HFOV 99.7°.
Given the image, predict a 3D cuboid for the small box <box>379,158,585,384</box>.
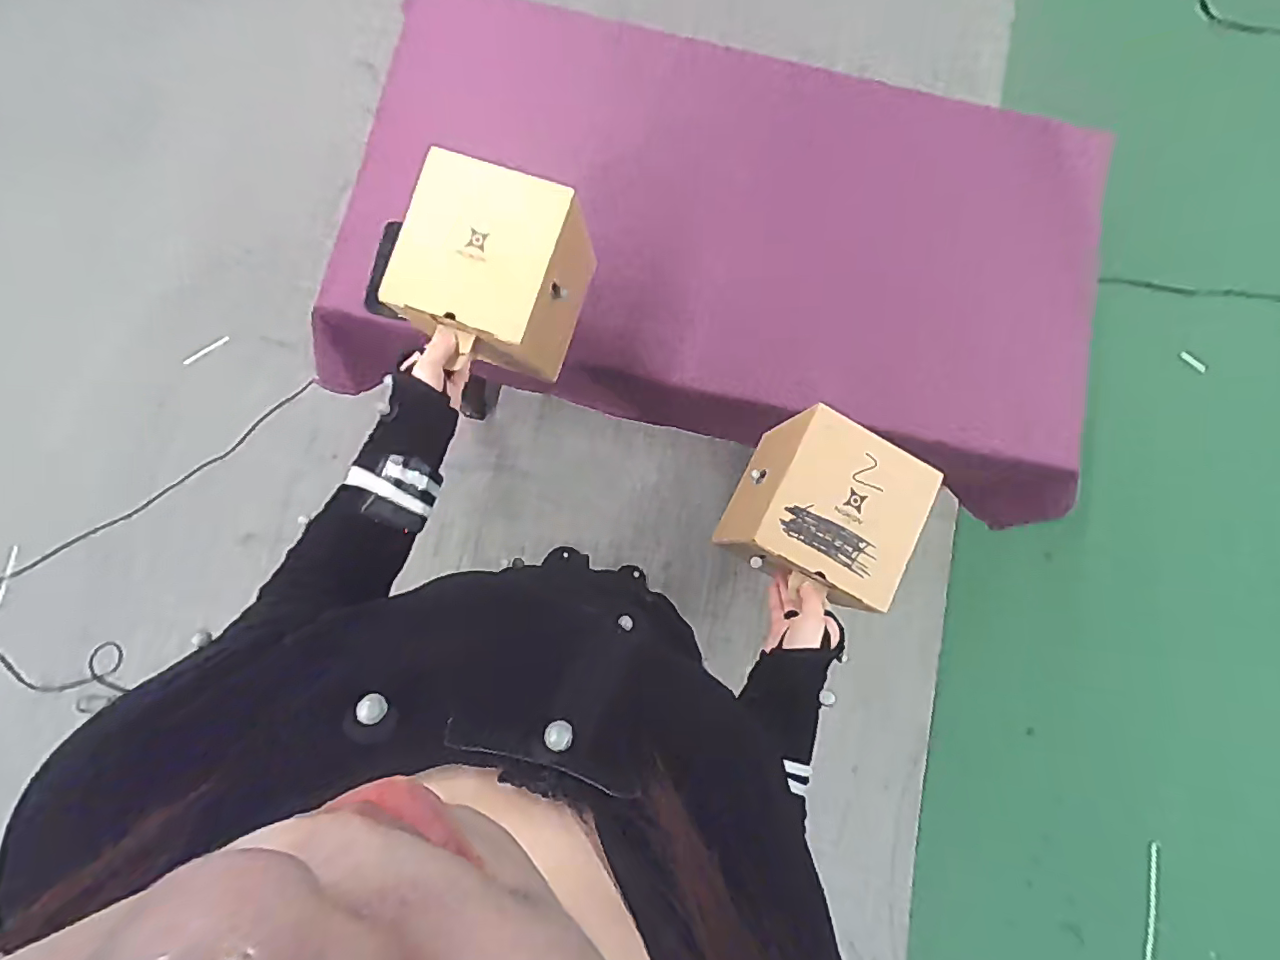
[{"bbox_3d":[-0.173,-0.235,0.653,0.168,0.176,0.179,19,89,3],"label":"small box"}]
